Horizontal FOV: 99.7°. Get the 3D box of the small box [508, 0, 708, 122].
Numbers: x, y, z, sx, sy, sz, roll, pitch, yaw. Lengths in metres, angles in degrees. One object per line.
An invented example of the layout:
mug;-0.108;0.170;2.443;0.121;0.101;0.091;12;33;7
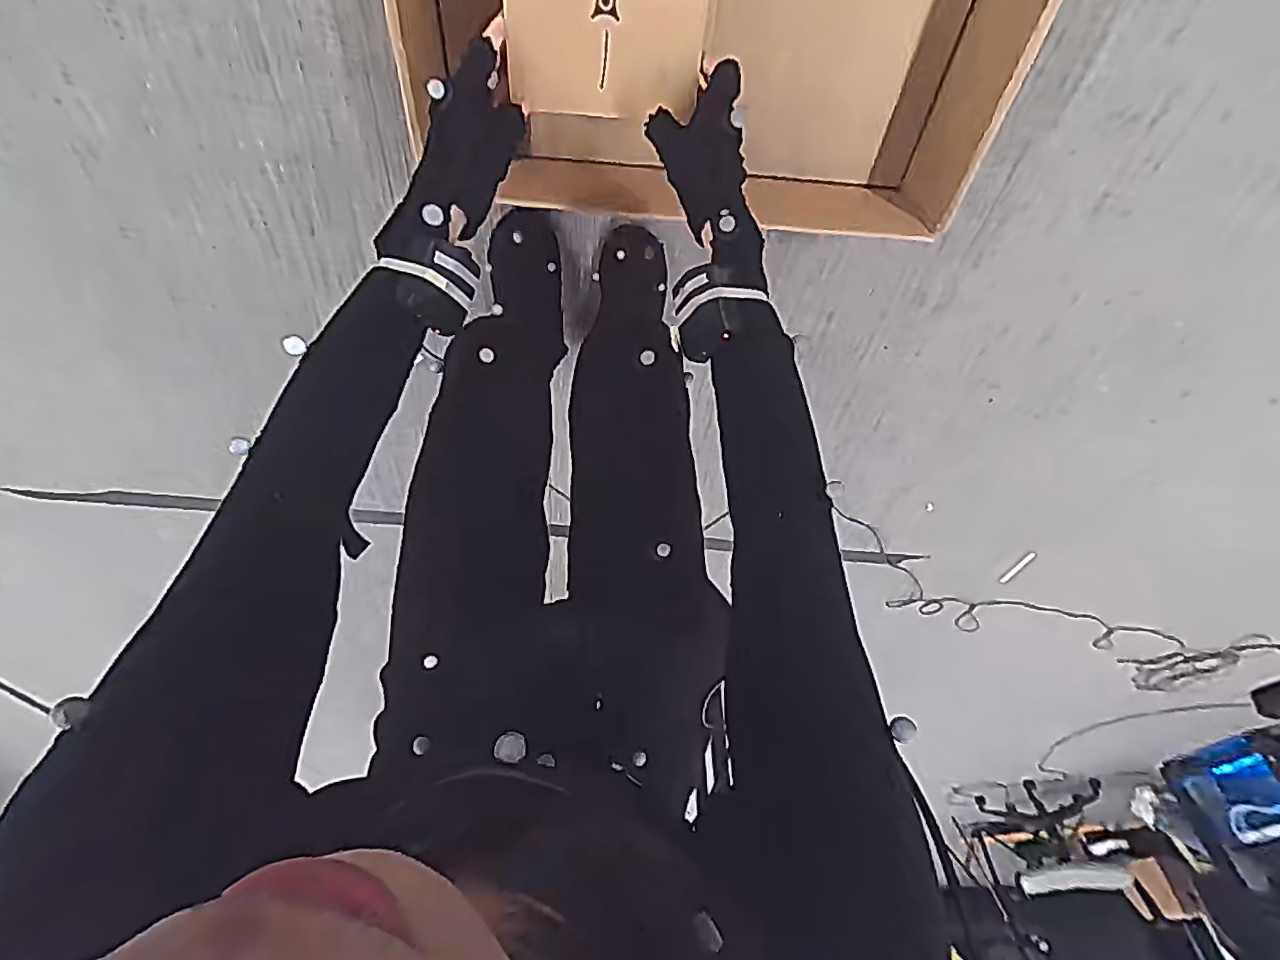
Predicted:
small box;-0.033;-0.447;0.494;0.168;0.176;0.179;1;129;-8
